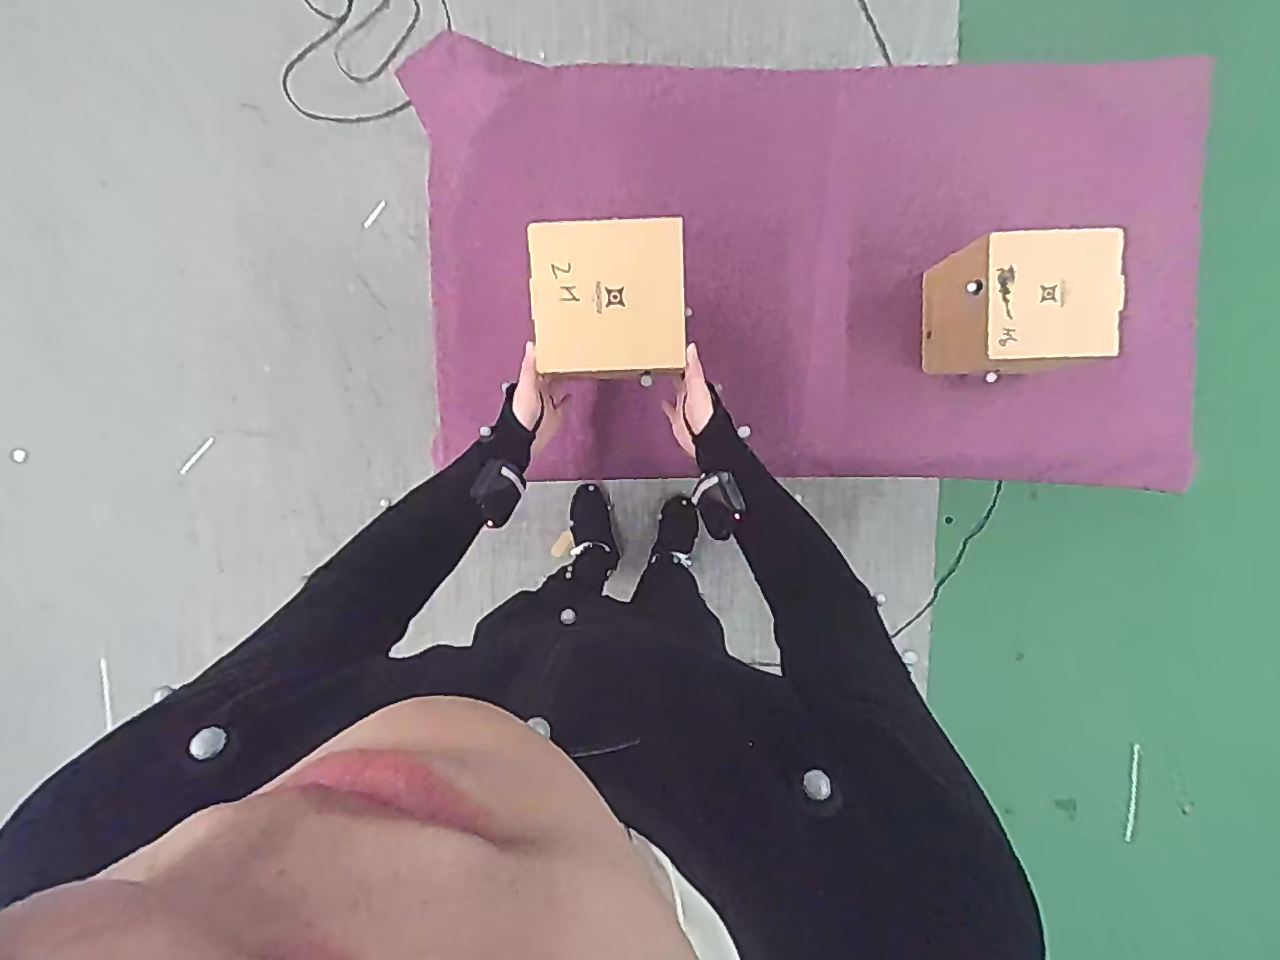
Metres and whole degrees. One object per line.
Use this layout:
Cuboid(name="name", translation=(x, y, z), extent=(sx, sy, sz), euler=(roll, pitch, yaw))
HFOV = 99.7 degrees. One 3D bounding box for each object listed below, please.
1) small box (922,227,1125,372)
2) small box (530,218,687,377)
Cuboid(name="small box", translation=(0.541, -0.251, 0.784), extent=(0.179, 0.176, 0.168), euler=(-1, 94, 0))
Cuboid(name="small box", translation=(-0.034, -0.220, 0.689), extent=(0.179, 0.176, 0.168), euler=(-1, 97, 1))
